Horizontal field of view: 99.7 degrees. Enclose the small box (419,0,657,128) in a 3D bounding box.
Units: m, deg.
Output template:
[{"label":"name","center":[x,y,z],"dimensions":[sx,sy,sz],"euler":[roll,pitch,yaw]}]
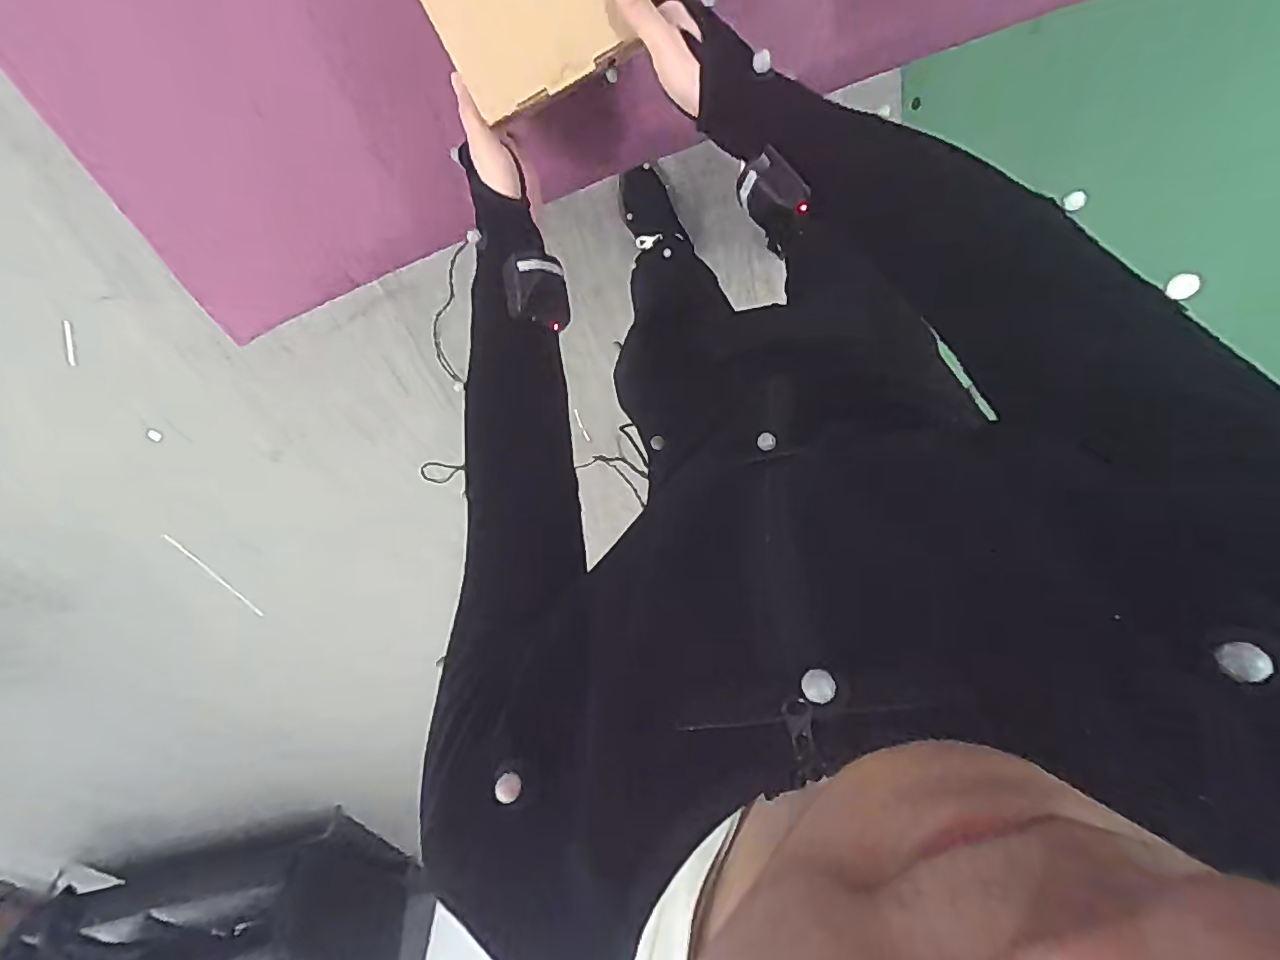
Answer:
[{"label":"small box","center":[-0.096,-0.438,0.463],"dimensions":[0.168,0.176,0.179],"euler":[-23,123,12]}]
